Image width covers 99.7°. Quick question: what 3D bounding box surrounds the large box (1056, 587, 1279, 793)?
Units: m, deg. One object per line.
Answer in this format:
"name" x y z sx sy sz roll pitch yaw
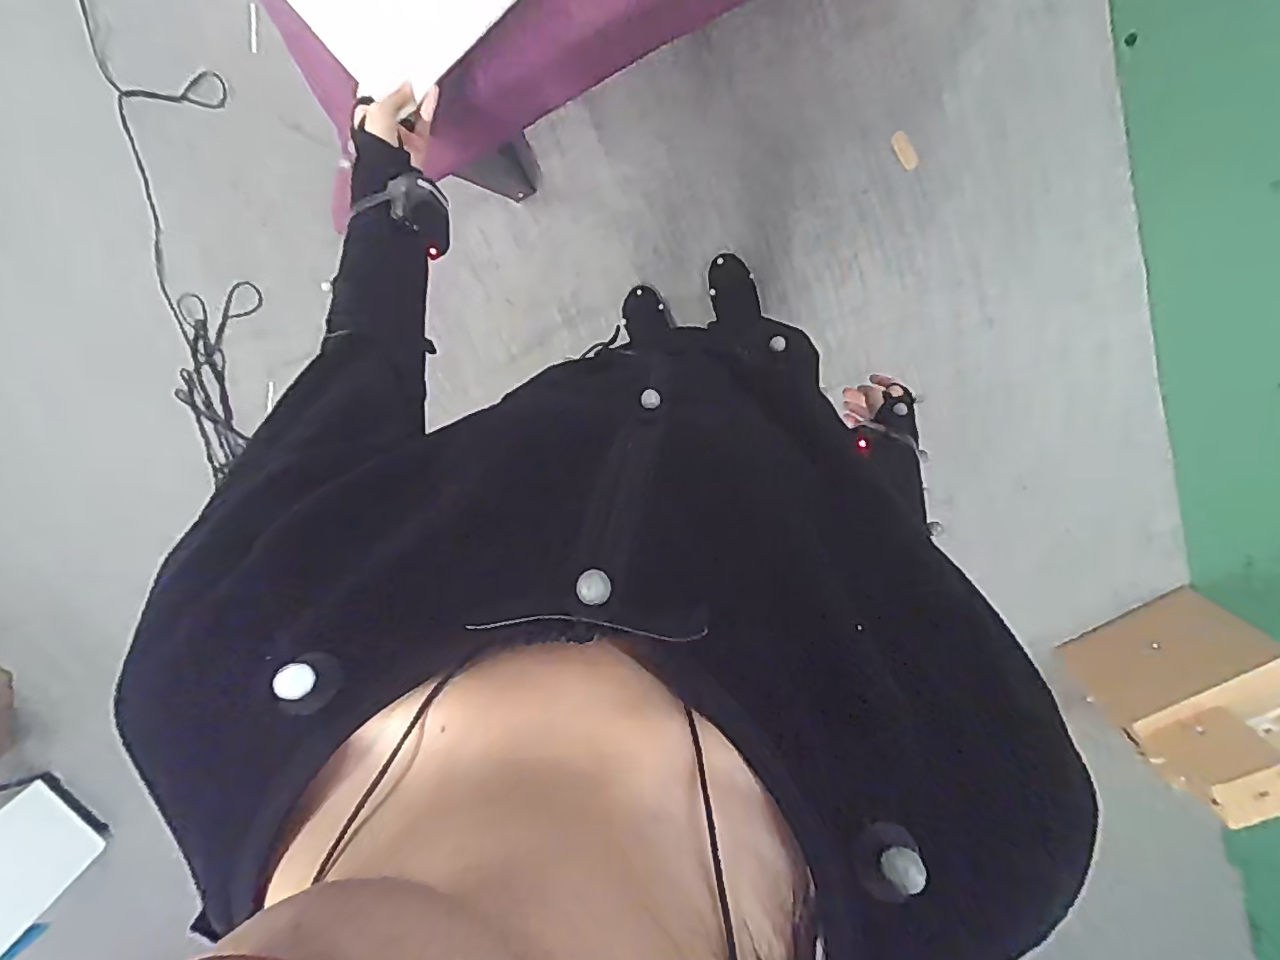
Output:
"large box" 1.541 0.589 1.544 0.408 0.320 0.320 -37 106 14

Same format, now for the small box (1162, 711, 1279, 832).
"small box" 1.451 0.711 1.333 0.179 0.176 0.168 -32 106 14
